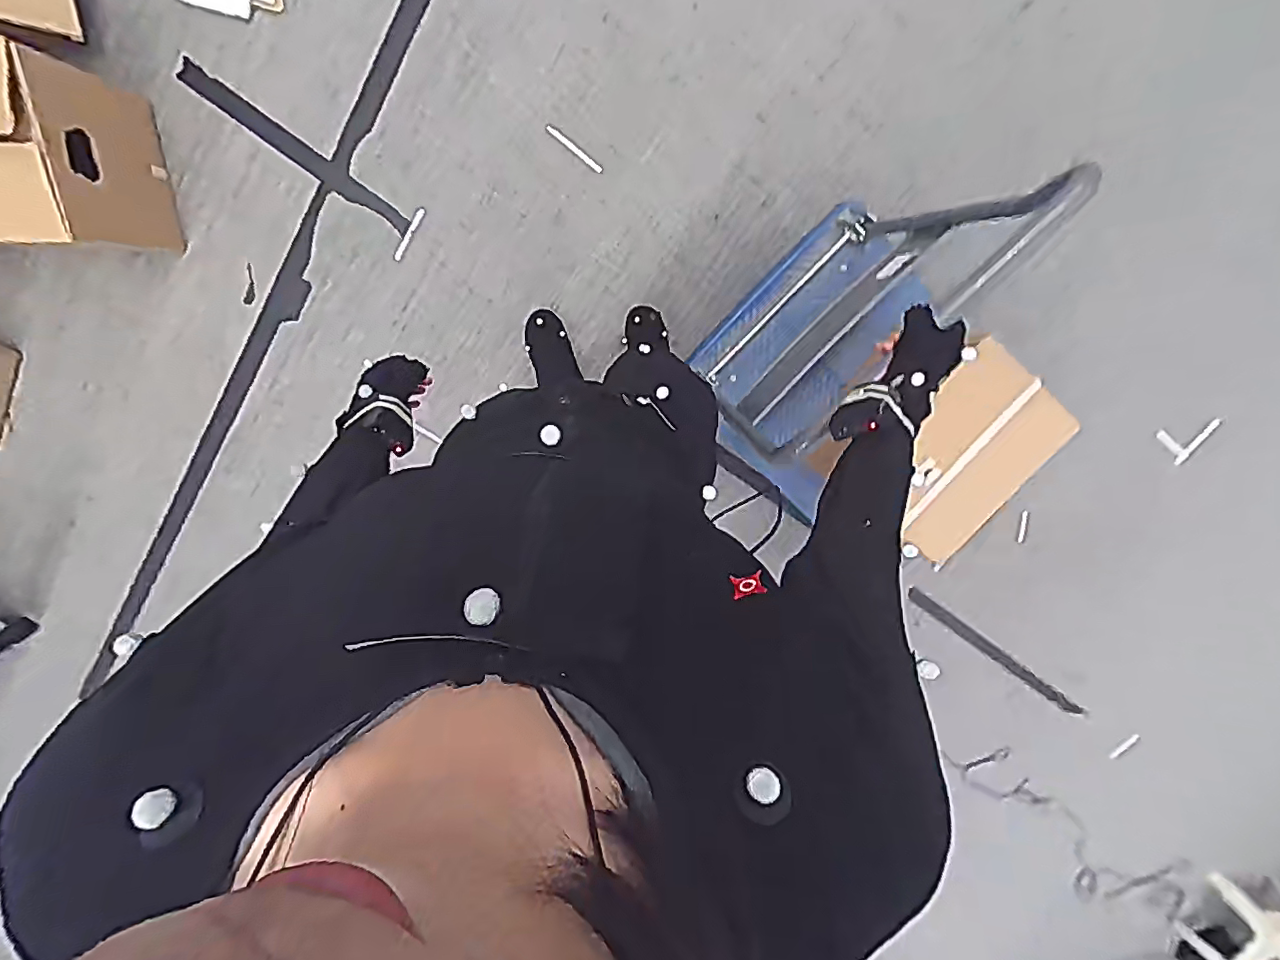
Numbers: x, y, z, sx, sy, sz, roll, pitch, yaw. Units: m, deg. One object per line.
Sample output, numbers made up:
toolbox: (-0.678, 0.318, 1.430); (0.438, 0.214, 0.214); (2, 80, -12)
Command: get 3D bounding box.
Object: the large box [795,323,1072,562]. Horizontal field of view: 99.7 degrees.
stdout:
large box: (0.645, -0.100, 1.254); (0.320, 0.320, 0.408); (34, 104, -15)
